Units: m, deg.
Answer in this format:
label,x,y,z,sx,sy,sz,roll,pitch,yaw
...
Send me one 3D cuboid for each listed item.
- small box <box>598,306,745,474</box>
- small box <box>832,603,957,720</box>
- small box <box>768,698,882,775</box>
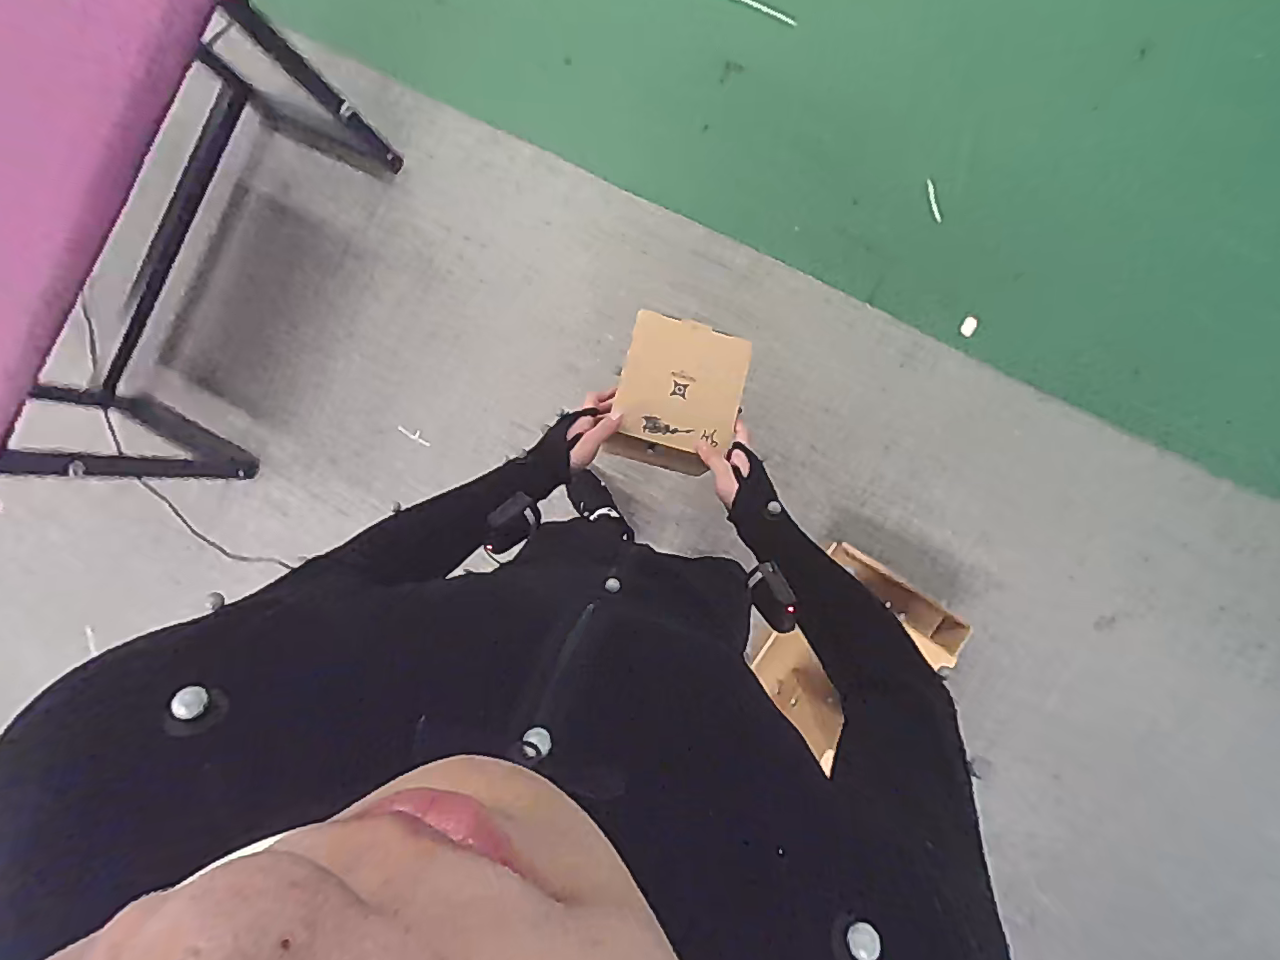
label,x,y,z,sx,sy,sz,roll,pitch,yaw
small box,0.036,-0.119,0.789,0.168,0.176,0.179,14,82,-5
small box,0.579,0.409,1.254,0.179,0.176,0.168,33,94,6
small box,0.422,0.642,1.269,0.179,0.176,0.168,35,92,5
